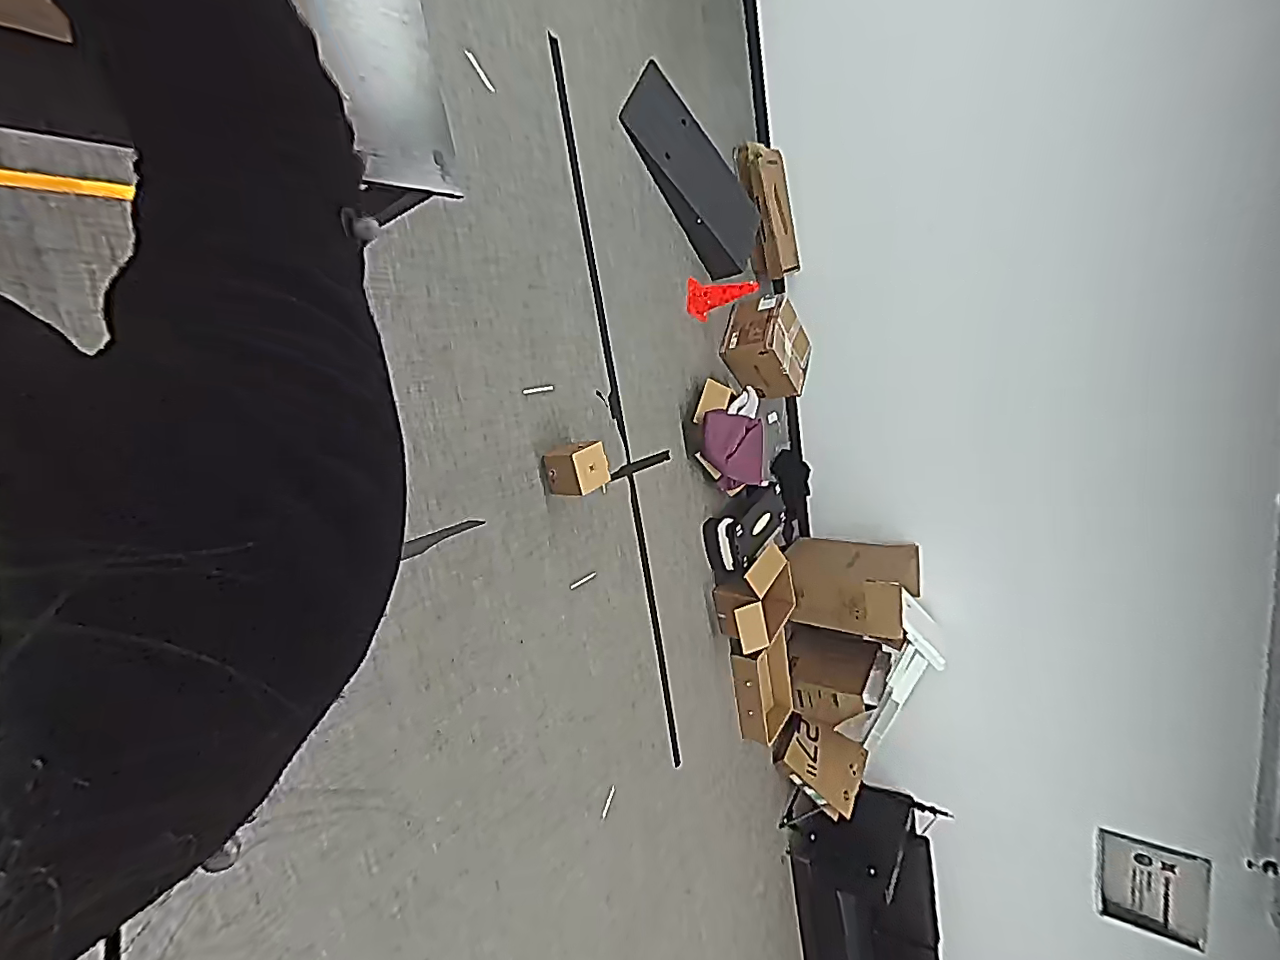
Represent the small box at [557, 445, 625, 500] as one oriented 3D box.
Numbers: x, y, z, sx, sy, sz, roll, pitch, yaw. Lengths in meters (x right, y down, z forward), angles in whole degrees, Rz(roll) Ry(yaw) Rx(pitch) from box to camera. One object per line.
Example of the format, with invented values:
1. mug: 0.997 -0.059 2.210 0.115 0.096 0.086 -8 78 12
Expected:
1. small box: -0.189 -0.033 2.070 0.179 0.176 0.168 -32 115 -47
